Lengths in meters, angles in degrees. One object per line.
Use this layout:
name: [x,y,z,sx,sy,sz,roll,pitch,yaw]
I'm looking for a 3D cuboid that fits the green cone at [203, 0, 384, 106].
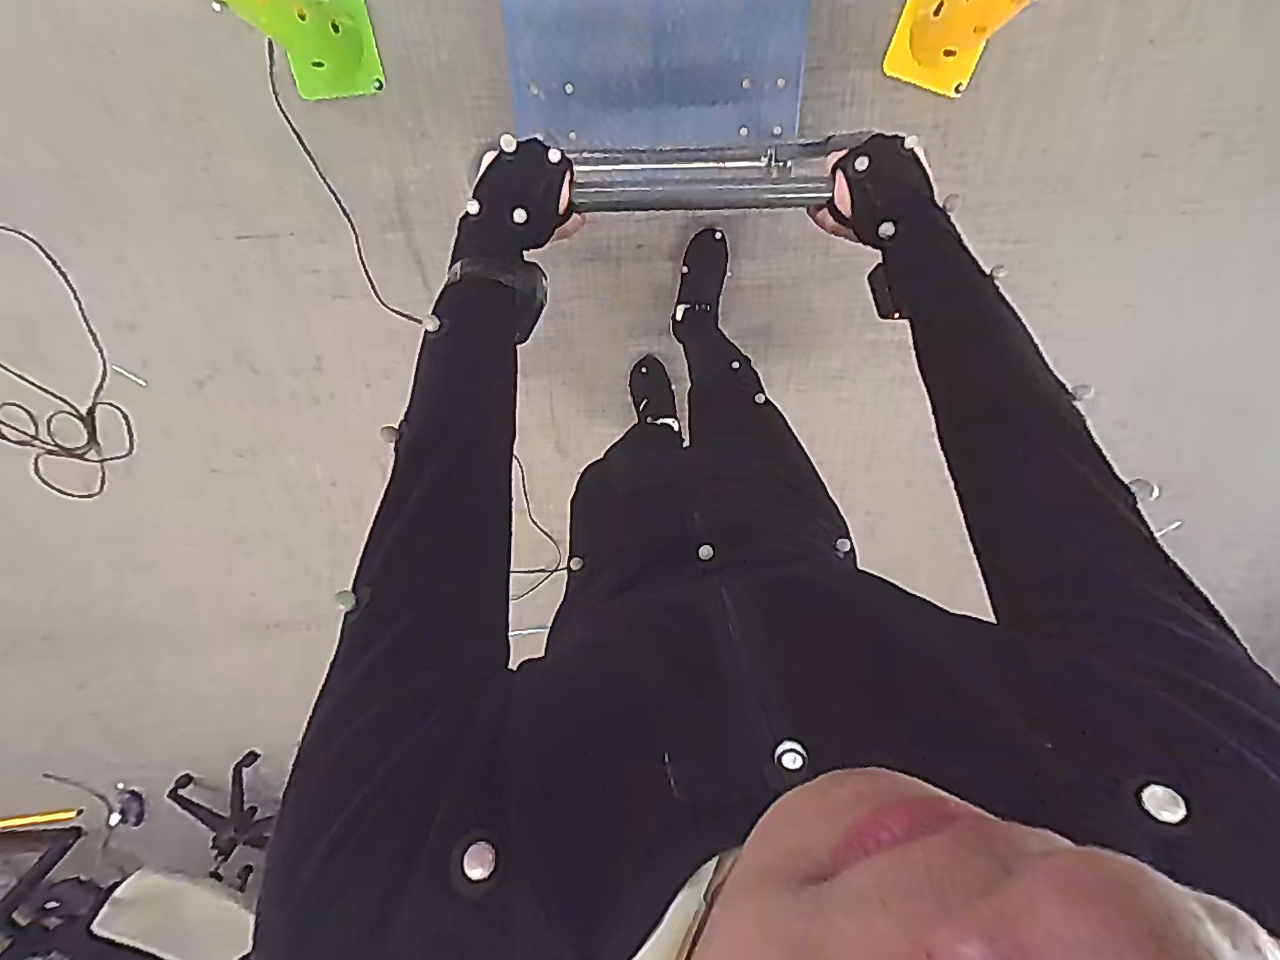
green cone: [-0.678,-0.864,1.014,0.202,0.368,0.200,-4,116,4]
